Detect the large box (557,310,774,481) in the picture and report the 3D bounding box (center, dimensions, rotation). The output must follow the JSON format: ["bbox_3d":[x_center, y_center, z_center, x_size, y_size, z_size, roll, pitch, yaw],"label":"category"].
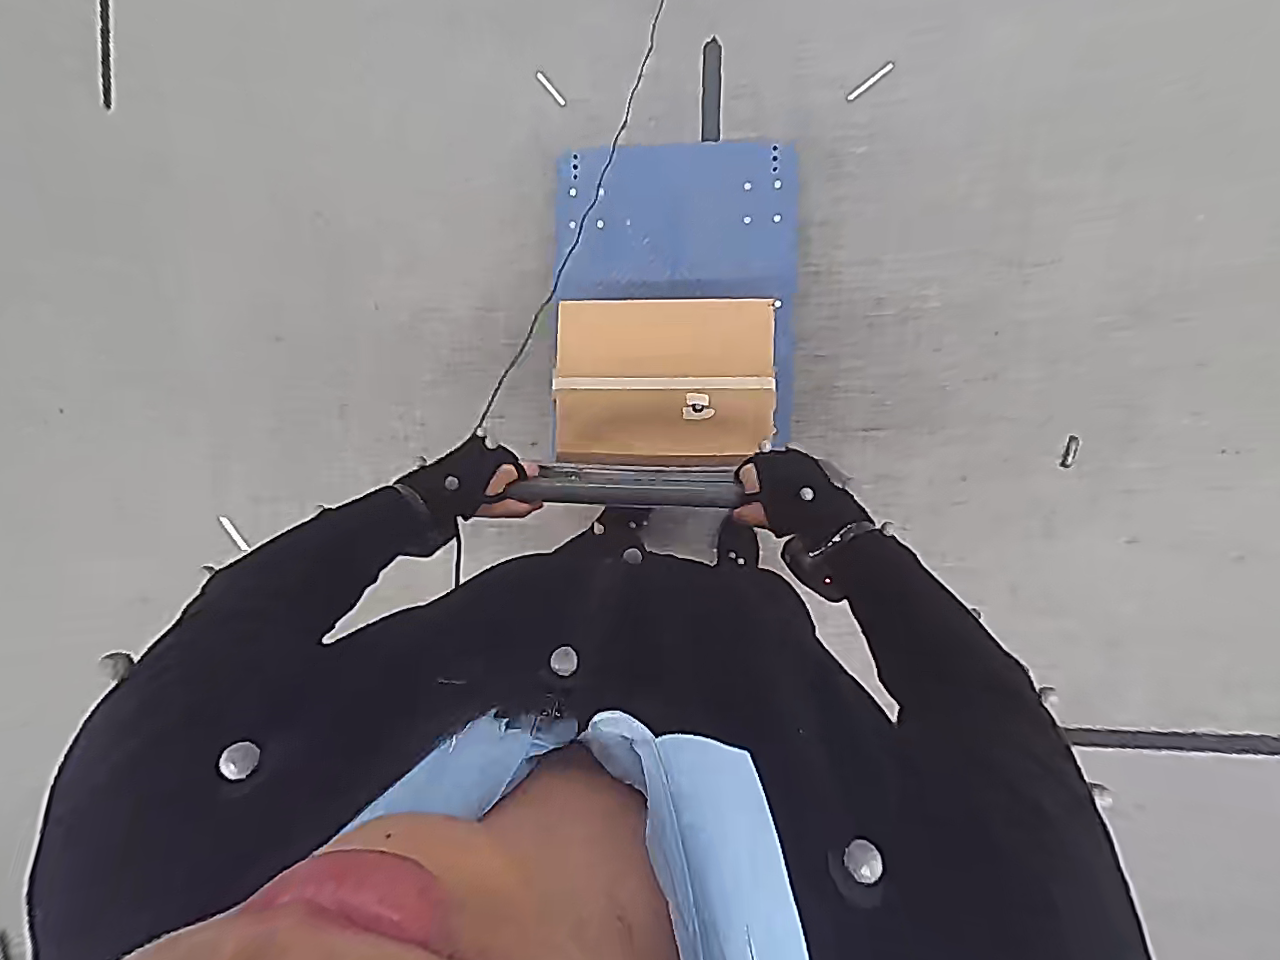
[{"bbox_3d":[0.054,-0.155,1.143,0.408,0.320,0.320,1,90,5],"label":"large box"}]
